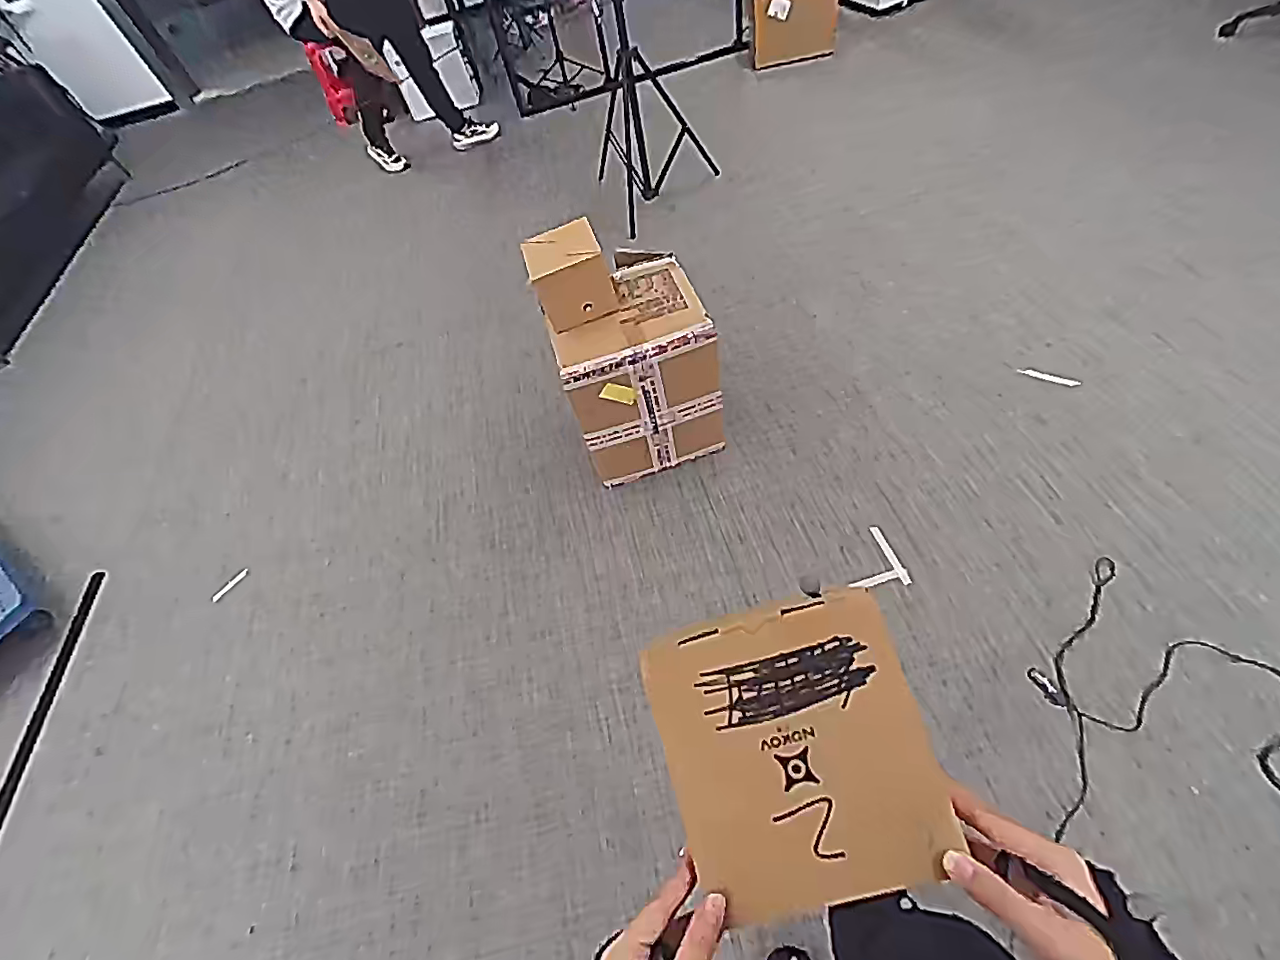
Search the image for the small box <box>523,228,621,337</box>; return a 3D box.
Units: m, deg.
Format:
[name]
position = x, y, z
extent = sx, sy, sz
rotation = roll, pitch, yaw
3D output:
[small box]
position = -0.168, -0.497, 1.348
extent = 0.179, 0.176, 0.168
rotation = -21, 55, 1
